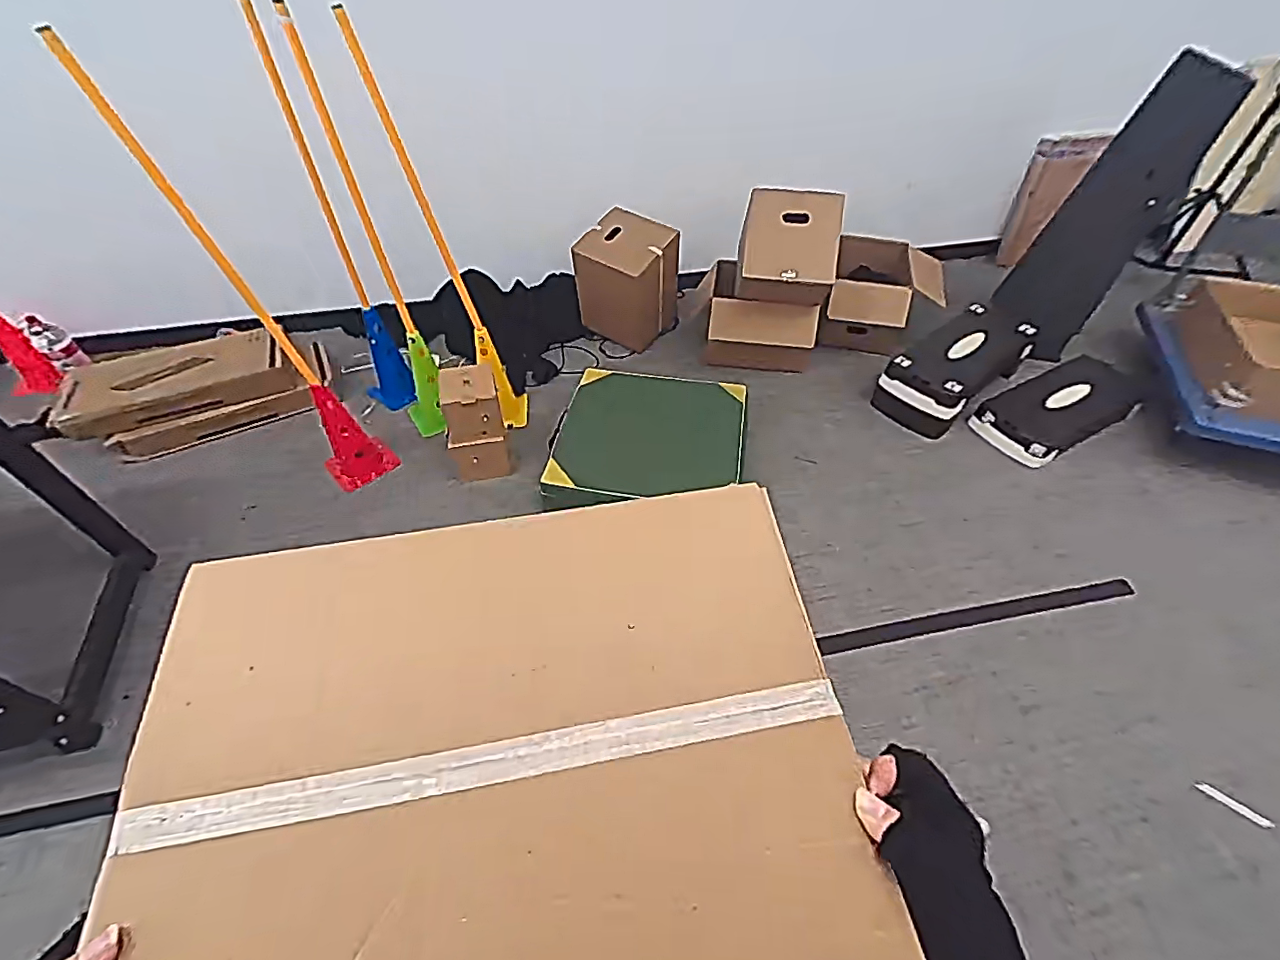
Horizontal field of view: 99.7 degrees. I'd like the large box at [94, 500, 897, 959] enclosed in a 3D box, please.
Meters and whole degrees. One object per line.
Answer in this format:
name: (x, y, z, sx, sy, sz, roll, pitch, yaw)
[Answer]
large box: (-0.085, 0.249, 0.444, 0.408, 0.320, 0.320, -8, 58, -5)
